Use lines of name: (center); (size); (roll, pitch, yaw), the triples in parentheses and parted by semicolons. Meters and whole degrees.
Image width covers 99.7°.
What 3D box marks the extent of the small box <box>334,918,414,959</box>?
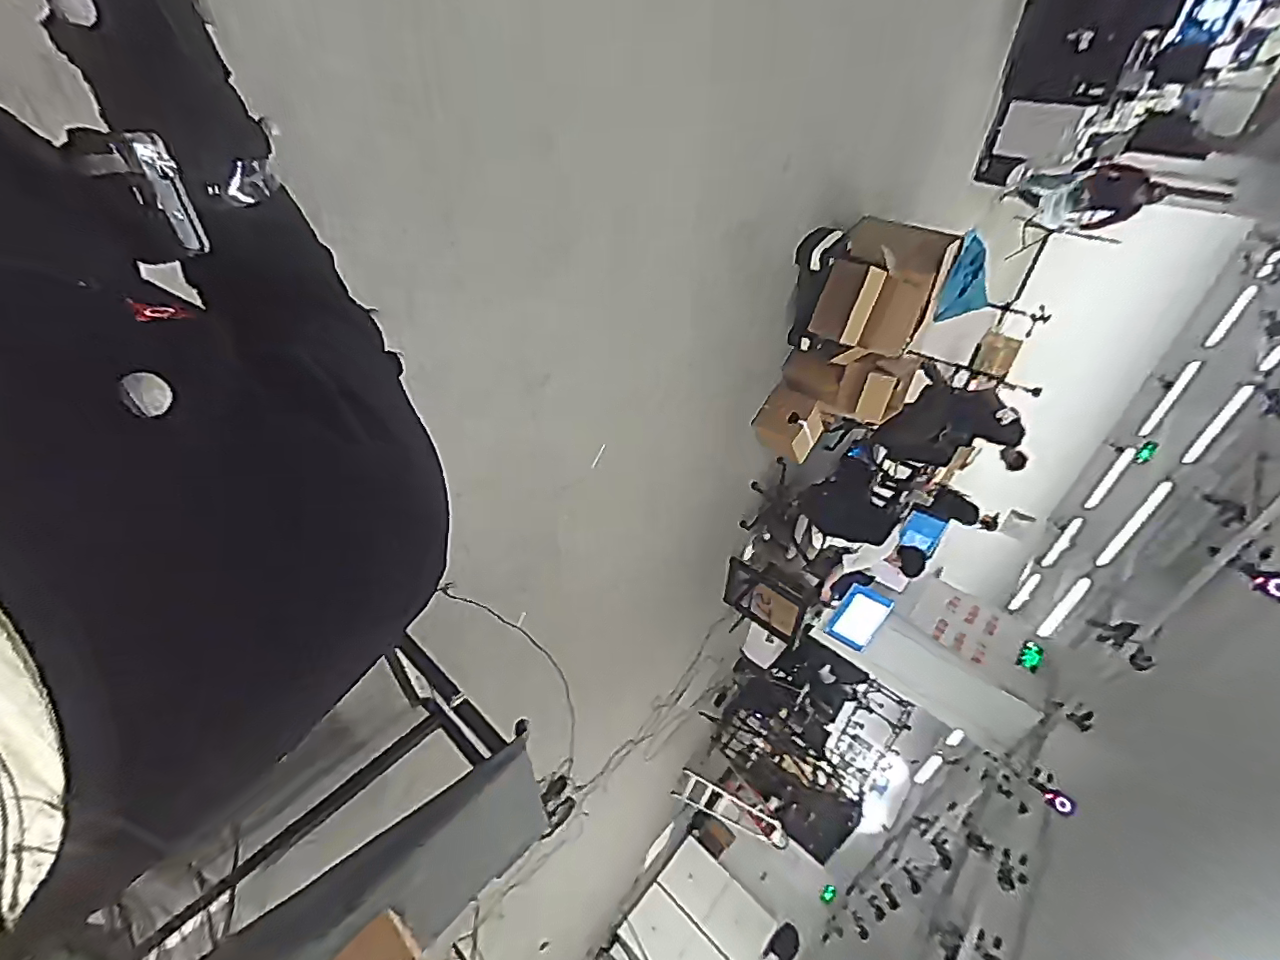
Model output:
small box: (-0.670, 1.256, 1.354); (0.179, 0.176, 0.168); (-34, 142, -34)
